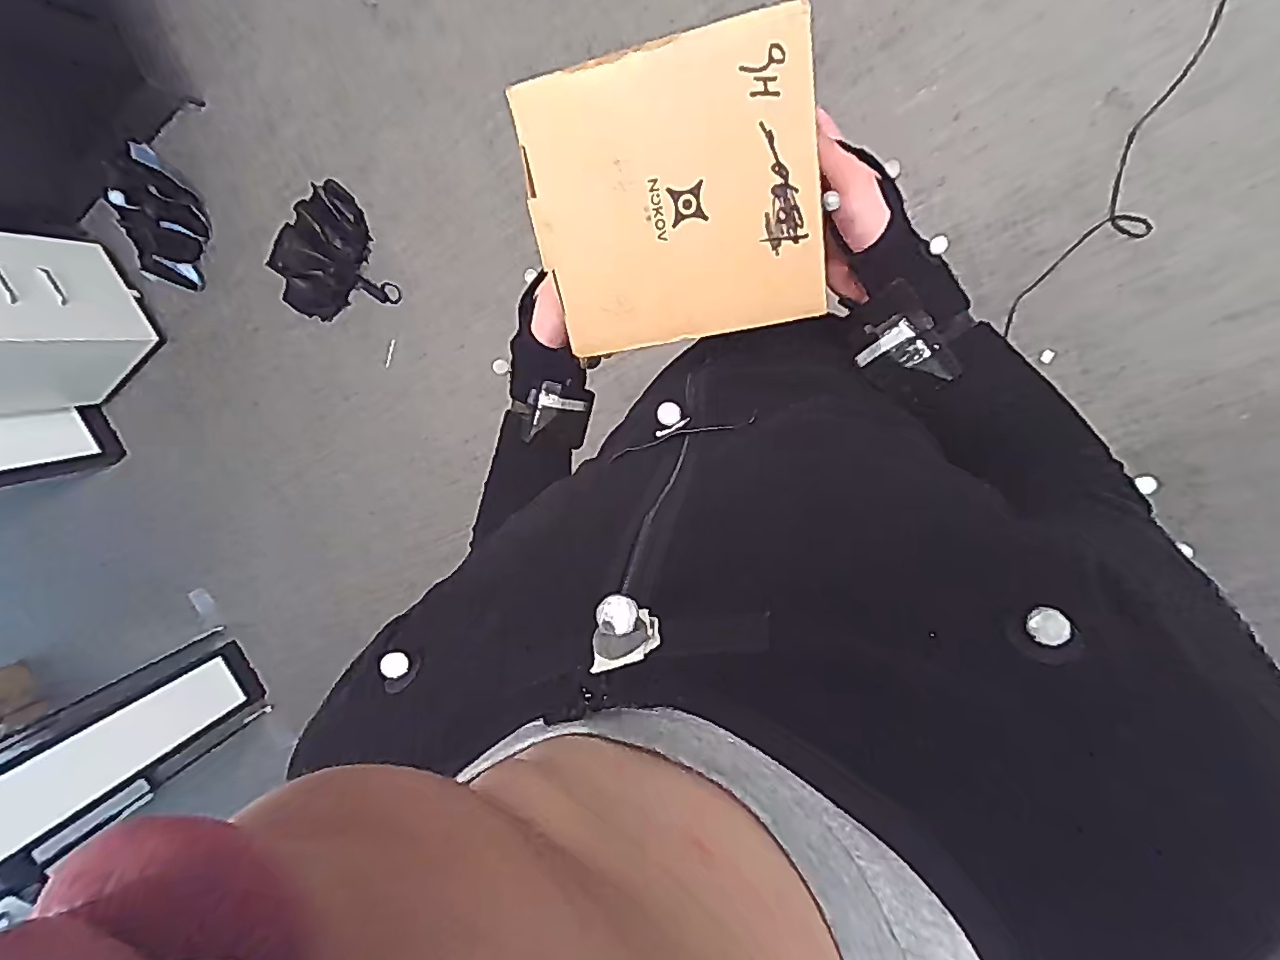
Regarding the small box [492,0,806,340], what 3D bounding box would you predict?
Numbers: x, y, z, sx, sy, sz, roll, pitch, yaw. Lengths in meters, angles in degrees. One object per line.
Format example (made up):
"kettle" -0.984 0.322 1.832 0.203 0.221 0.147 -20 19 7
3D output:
"small box" 0.023 -0.213 0.400 0.179 0.176 0.168 -5 117 13
